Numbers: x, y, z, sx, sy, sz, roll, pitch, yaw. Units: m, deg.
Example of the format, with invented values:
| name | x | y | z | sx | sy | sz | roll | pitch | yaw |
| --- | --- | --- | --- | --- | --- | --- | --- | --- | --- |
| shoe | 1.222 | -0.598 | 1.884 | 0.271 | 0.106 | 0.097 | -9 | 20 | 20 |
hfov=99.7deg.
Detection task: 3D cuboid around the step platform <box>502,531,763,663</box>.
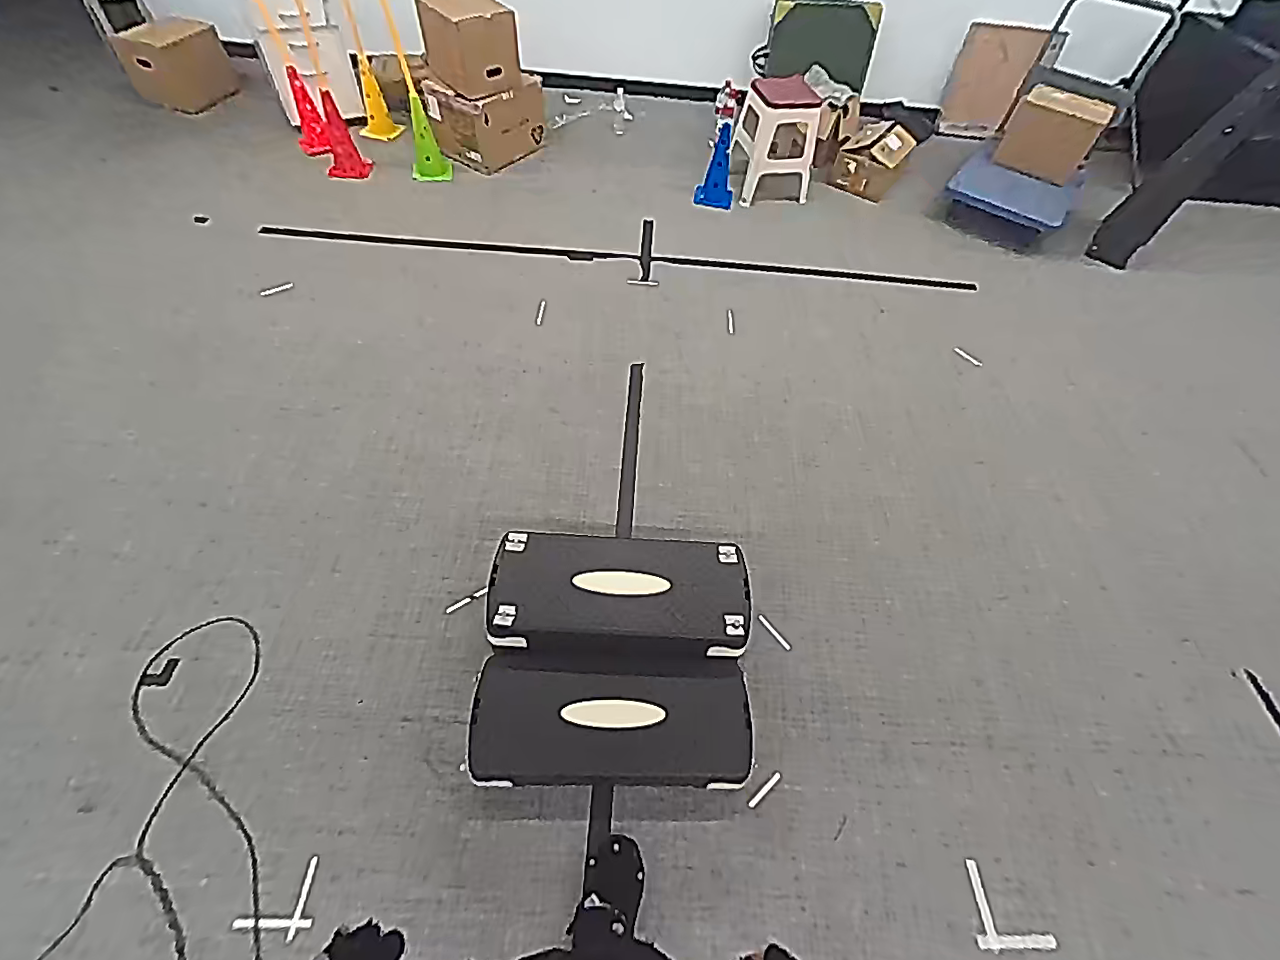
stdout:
| name | x | y | z | sx | sy | sz | roll | pitch | yaw |
| --- | --- | --- | --- | --- | --- | --- | --- | --- | --- |
| step platform | -0.019 | 0.313 | 1.458 | 0.684 | 0.204 | 0.286 | 4 | 54 | -4 |
